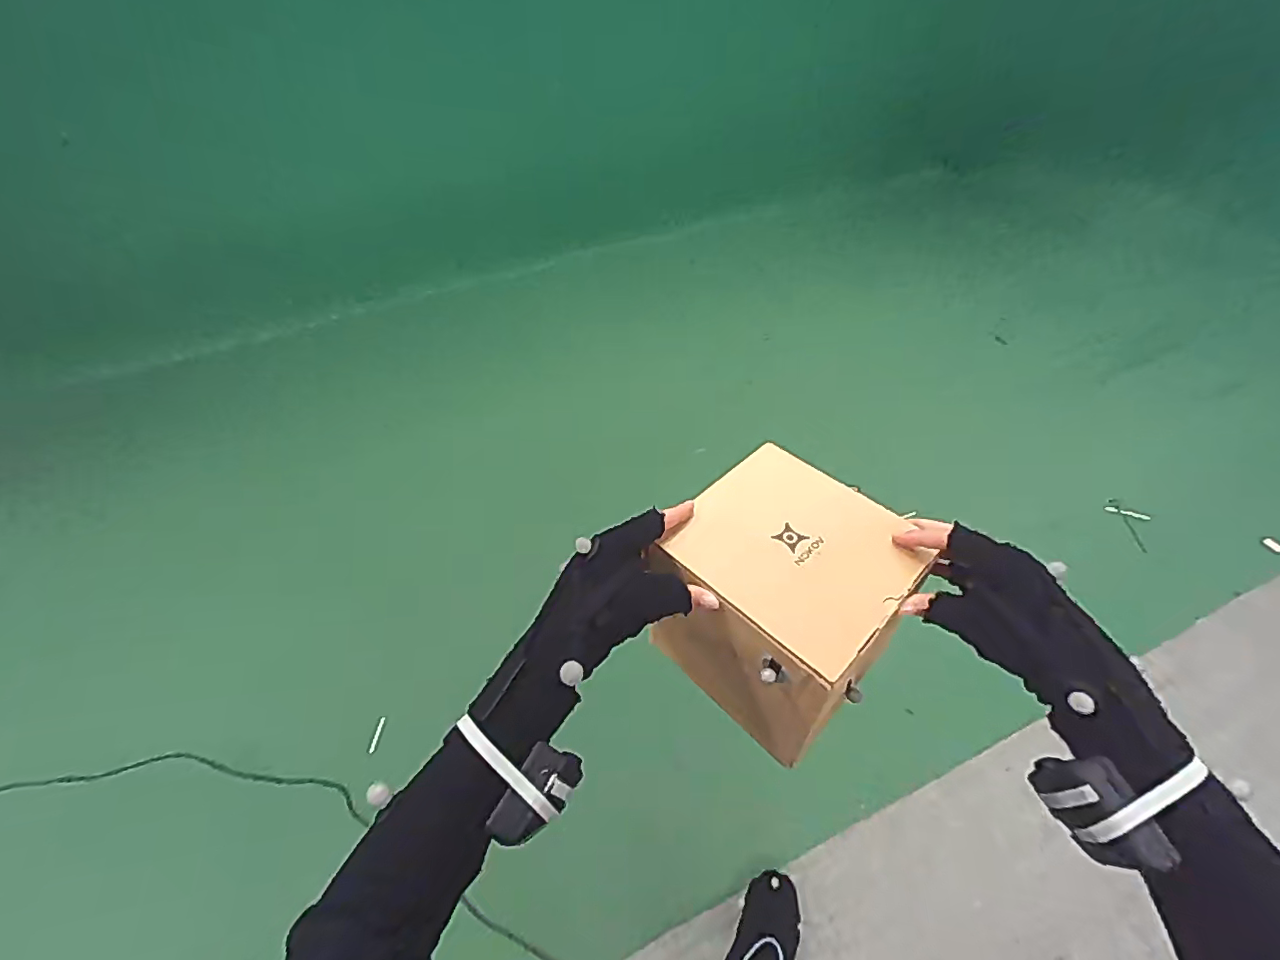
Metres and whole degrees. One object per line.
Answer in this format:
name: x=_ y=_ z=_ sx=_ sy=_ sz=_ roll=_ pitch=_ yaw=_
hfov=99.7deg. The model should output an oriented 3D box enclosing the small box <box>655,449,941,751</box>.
small box: x=0.127 y=0.108 z=0.499 sx=0.168 sy=0.176 sz=0.179 roll=-35 pitch=55 yaw=-29
